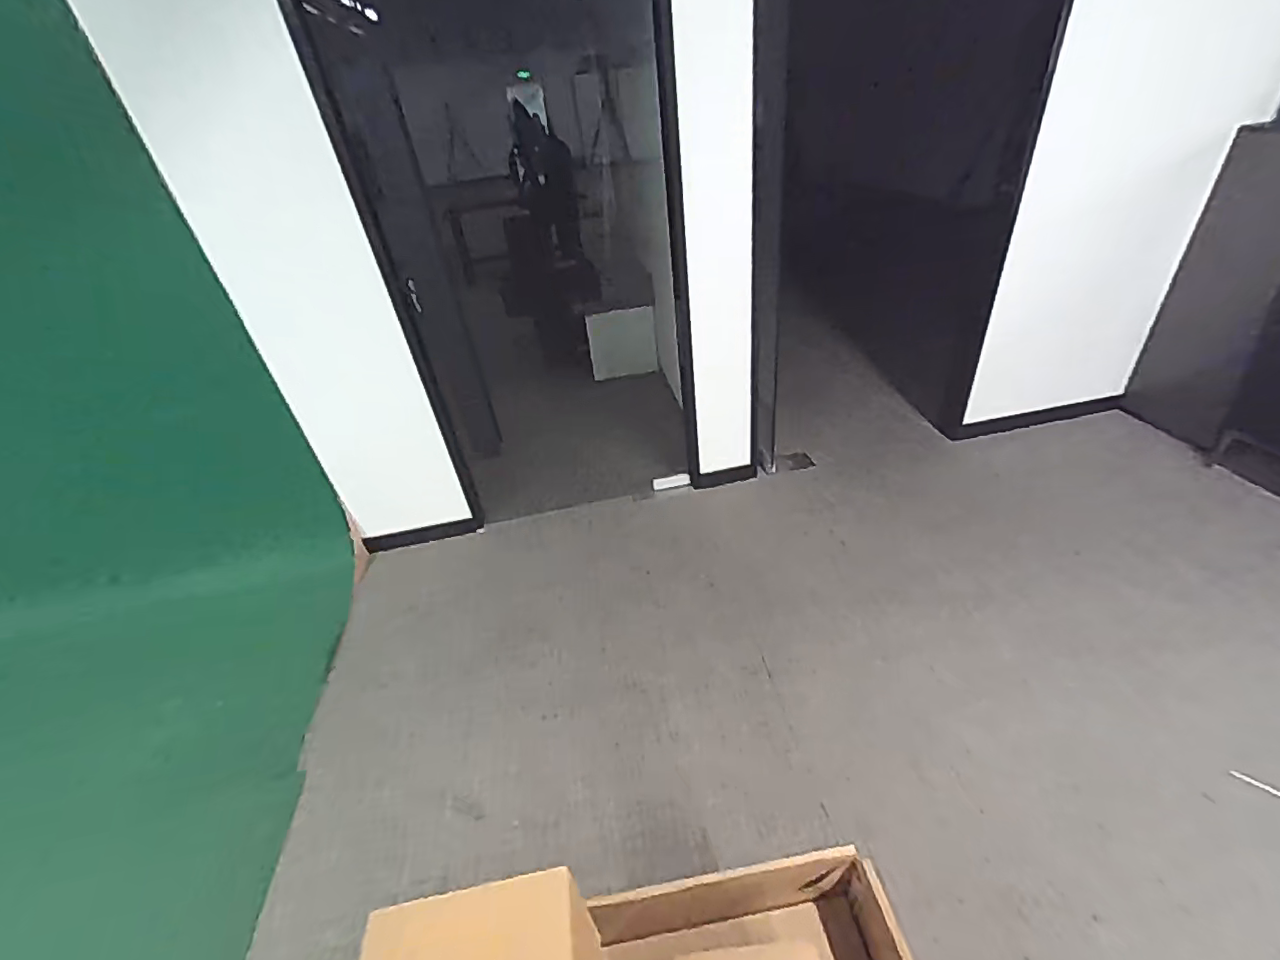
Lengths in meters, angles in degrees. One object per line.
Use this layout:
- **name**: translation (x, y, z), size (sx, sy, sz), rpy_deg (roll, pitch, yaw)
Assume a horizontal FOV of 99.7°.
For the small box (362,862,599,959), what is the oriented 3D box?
- **small box**: translation (-0.118, 0.447, 0.424), size (0.168, 0.176, 0.179), rpy_deg (-10, 35, -4)
